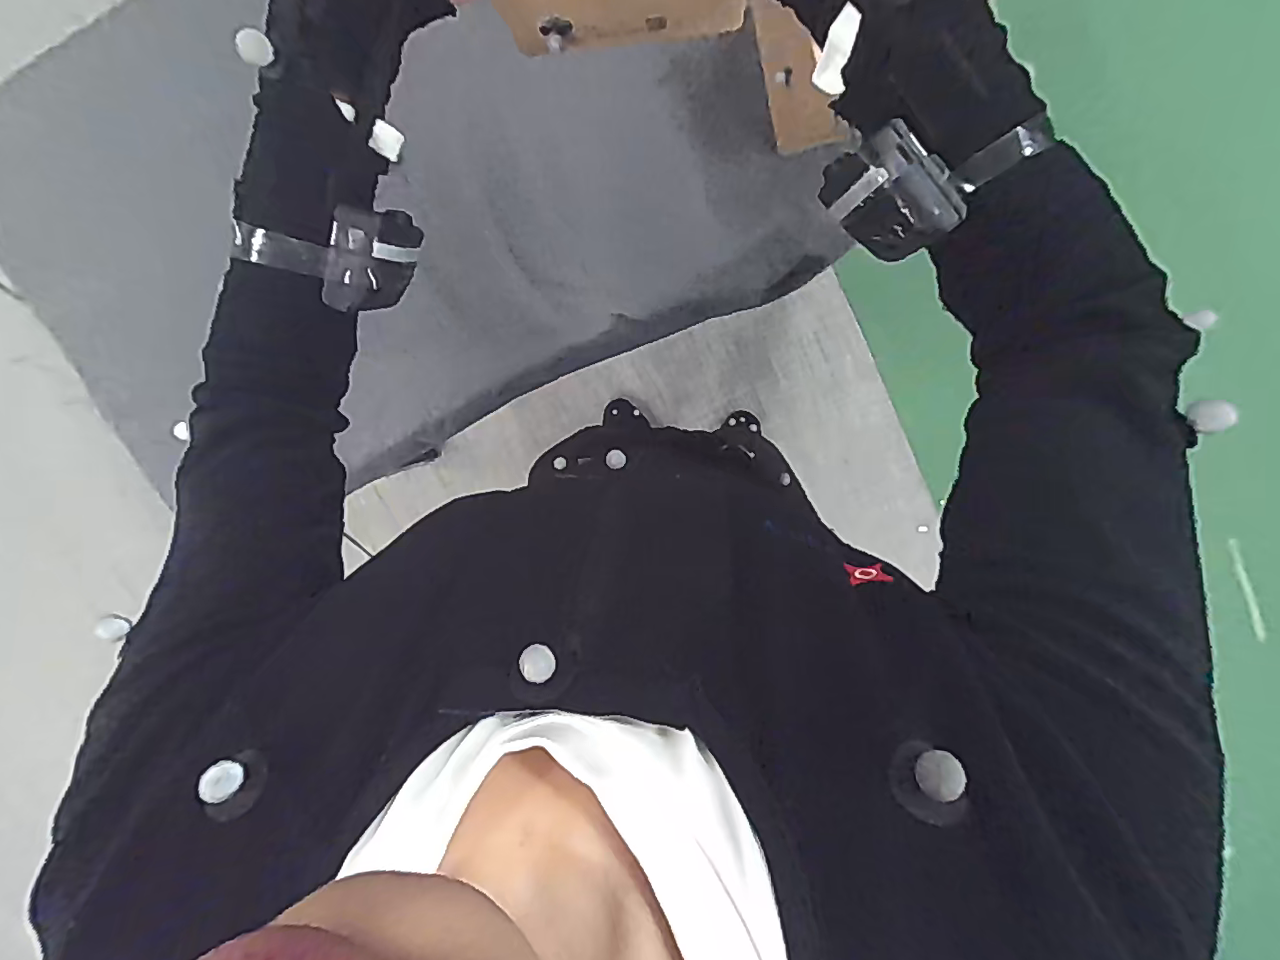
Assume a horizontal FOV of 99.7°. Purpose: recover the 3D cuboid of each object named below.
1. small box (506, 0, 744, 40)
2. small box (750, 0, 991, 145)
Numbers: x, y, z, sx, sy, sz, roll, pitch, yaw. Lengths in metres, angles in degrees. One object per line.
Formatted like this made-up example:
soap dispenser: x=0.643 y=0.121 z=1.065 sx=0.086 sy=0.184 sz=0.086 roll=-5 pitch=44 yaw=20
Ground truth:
small box: x=-0.018 y=-0.391 z=0.306 sx=0.168 sy=0.176 sz=0.179 roll=-2 pitch=100 yaw=6
small box: x=0.221 y=-0.480 z=0.560 sx=0.168 sy=0.176 sz=0.179 roll=-14 pitch=97 yaw=3
